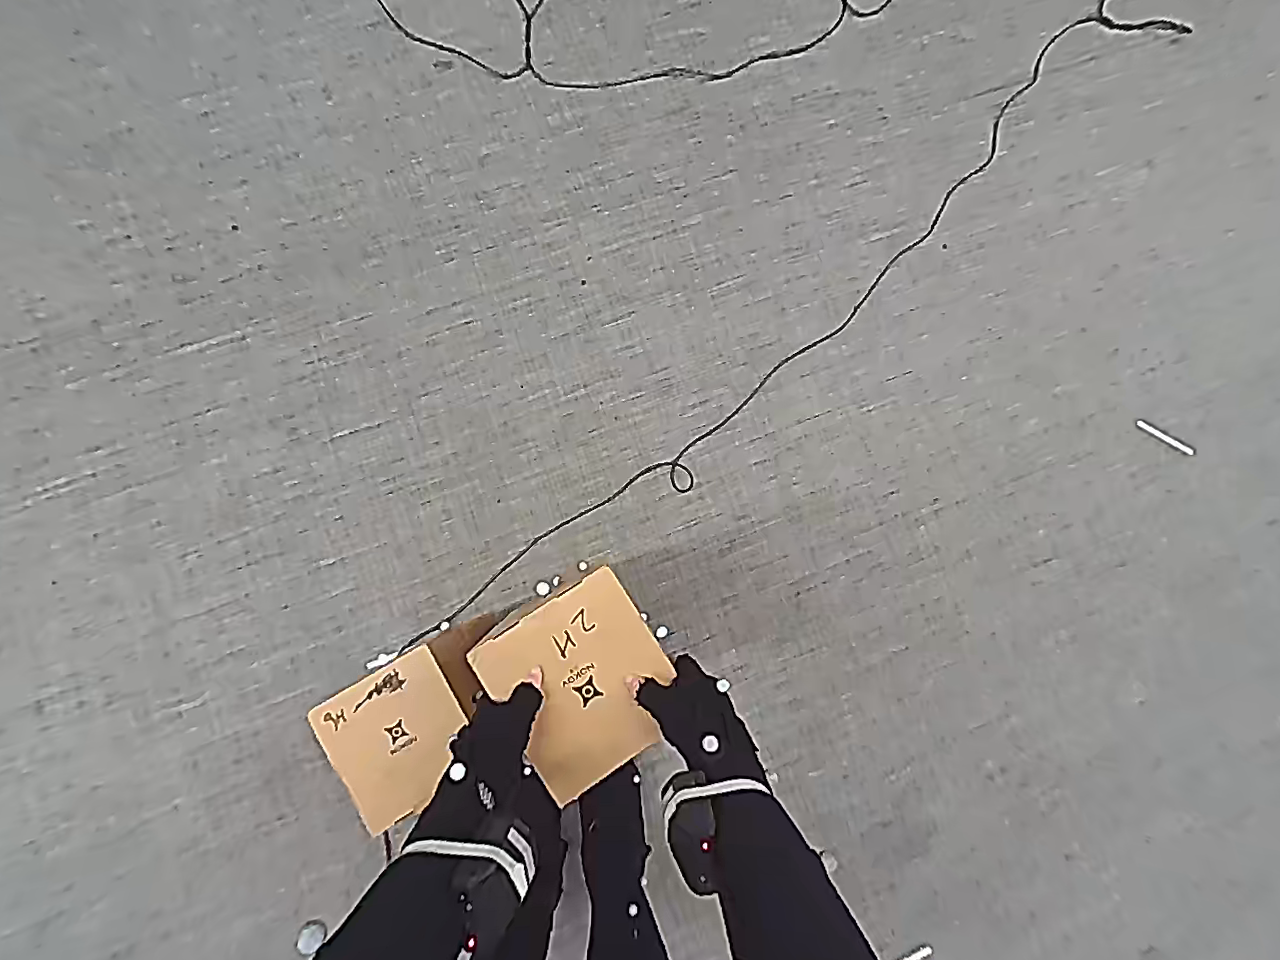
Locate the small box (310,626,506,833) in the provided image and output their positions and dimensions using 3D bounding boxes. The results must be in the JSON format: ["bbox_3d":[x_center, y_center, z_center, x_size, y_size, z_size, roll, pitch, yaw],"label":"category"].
[{"bbox_3d":[-0.303,0.327,0.750,0.168,0.176,0.179,-29,88,-7],"label":"small box"}]

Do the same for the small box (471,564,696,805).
[{"bbox_3d":[-0.060,0.210,0.614,0.168,0.176,0.179,-31,87,-8],"label":"small box"}]
